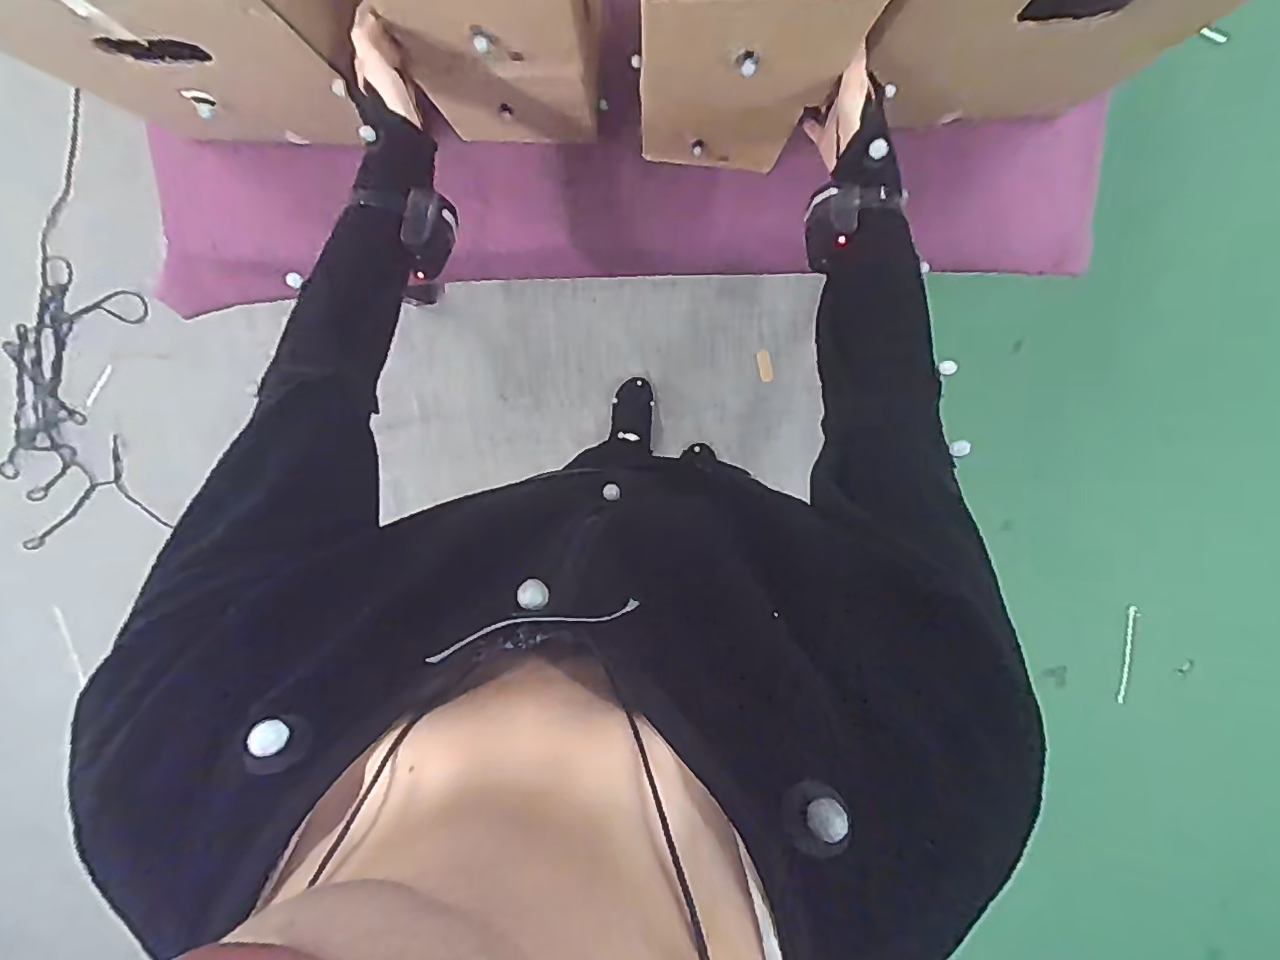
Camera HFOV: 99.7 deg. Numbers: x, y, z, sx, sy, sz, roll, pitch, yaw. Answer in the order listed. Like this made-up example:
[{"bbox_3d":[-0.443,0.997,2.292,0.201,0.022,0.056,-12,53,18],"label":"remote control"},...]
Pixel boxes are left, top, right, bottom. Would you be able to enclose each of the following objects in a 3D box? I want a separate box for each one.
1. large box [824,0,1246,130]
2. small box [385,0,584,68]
[{"bbox_3d":[0.363,-0.611,0.491,0.320,0.320,0.408,-3,102,4],"label":"large box"},{"bbox_3d":[-0.134,-0.473,0.426,0.168,0.176,0.179,2,101,1],"label":"small box"}]
